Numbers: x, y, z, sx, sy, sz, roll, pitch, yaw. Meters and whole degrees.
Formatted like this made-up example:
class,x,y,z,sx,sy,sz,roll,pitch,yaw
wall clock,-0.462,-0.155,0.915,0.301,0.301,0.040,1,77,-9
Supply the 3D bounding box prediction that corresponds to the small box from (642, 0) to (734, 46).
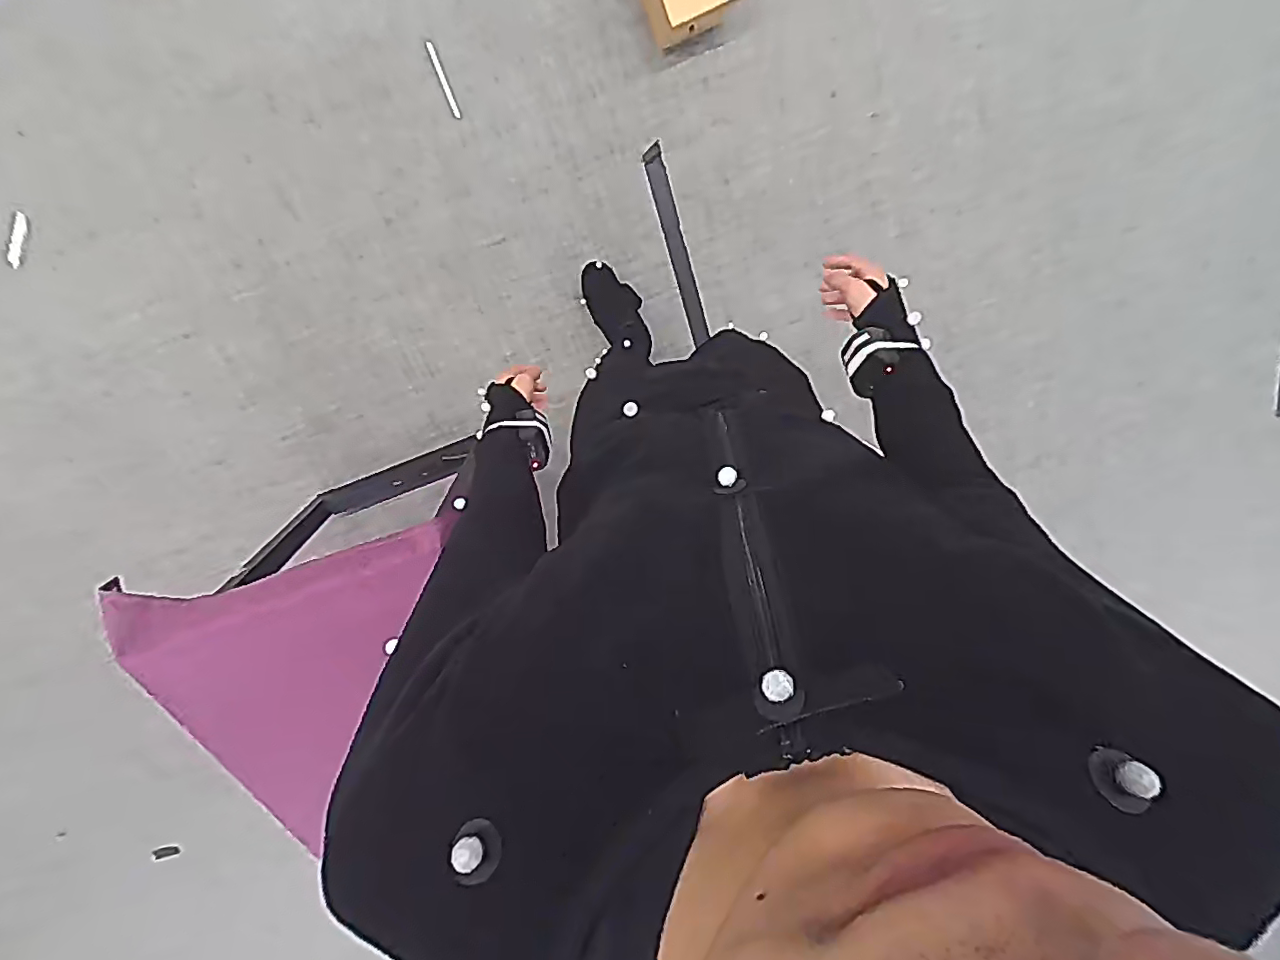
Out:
class,x,y,z,sx,sy,sz,roll,pitch,yaw
small box,0.095,-1.074,1.157,0.168,0.176,0.179,-24,114,3
